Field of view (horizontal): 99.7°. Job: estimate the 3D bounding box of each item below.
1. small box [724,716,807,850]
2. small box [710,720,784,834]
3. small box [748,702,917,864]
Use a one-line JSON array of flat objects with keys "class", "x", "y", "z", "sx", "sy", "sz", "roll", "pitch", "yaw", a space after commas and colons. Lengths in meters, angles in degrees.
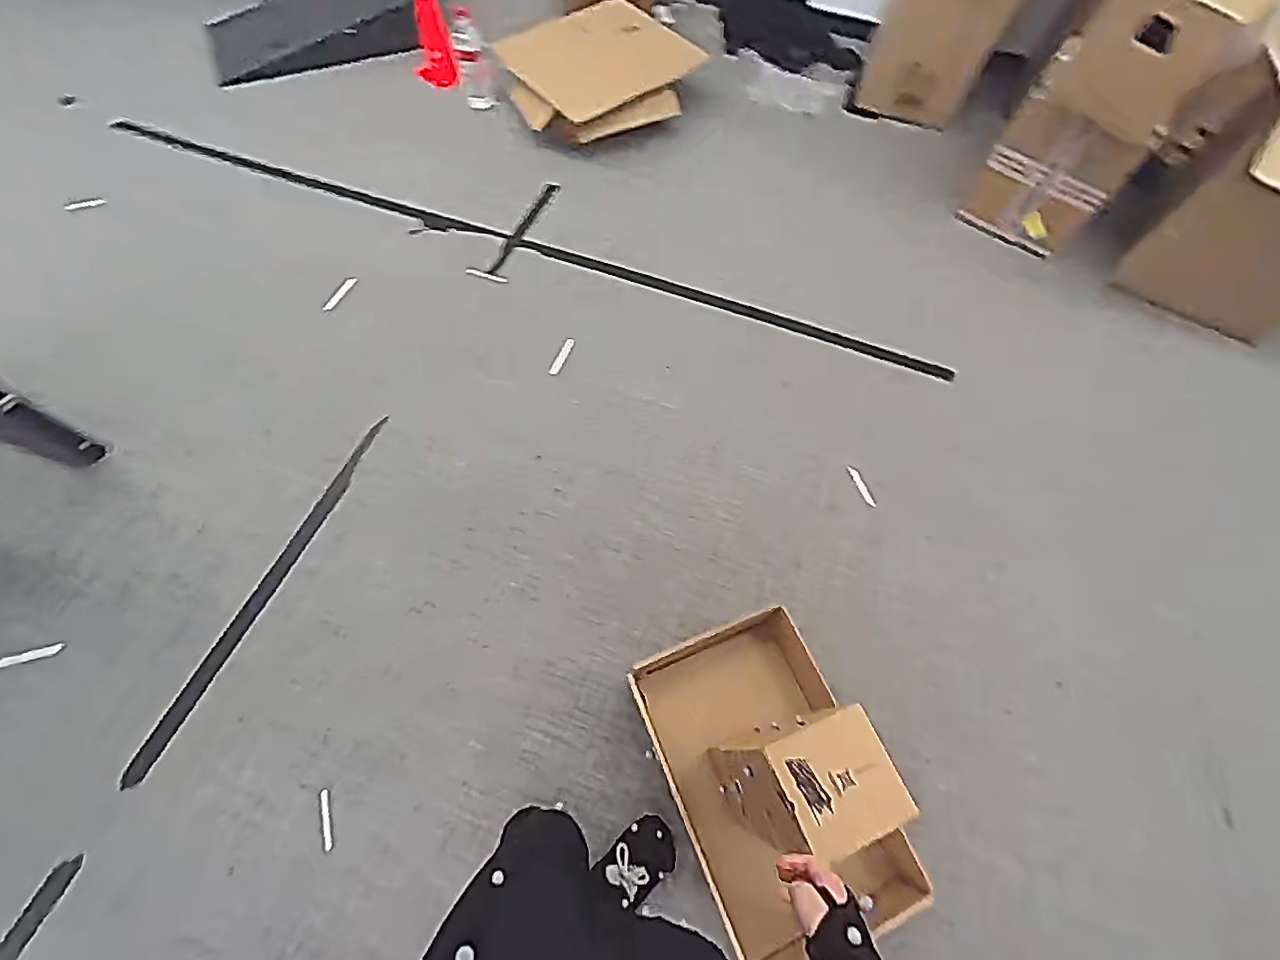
[{"class": "small box", "x": 0.278, "y": 0.553, "z": 1.011, "sx": 0.179, "sy": 0.176, "sz": 0.168, "roll": -18, "pitch": 65, "yaw": -11}, {"class": "small box", "x": 0.268, "y": 0.624, "z": 1.156, "sx": 0.179, "sy": 0.176, "sz": 0.168, "roll": -17, "pitch": 65, "yaw": -11}, {"class": "small box", "x": 0.290, "y": 0.477, "z": 0.866, "sx": 0.179, "sy": 0.176, "sz": 0.168, "roll": -18, "pitch": 66, "yaw": -13}]
